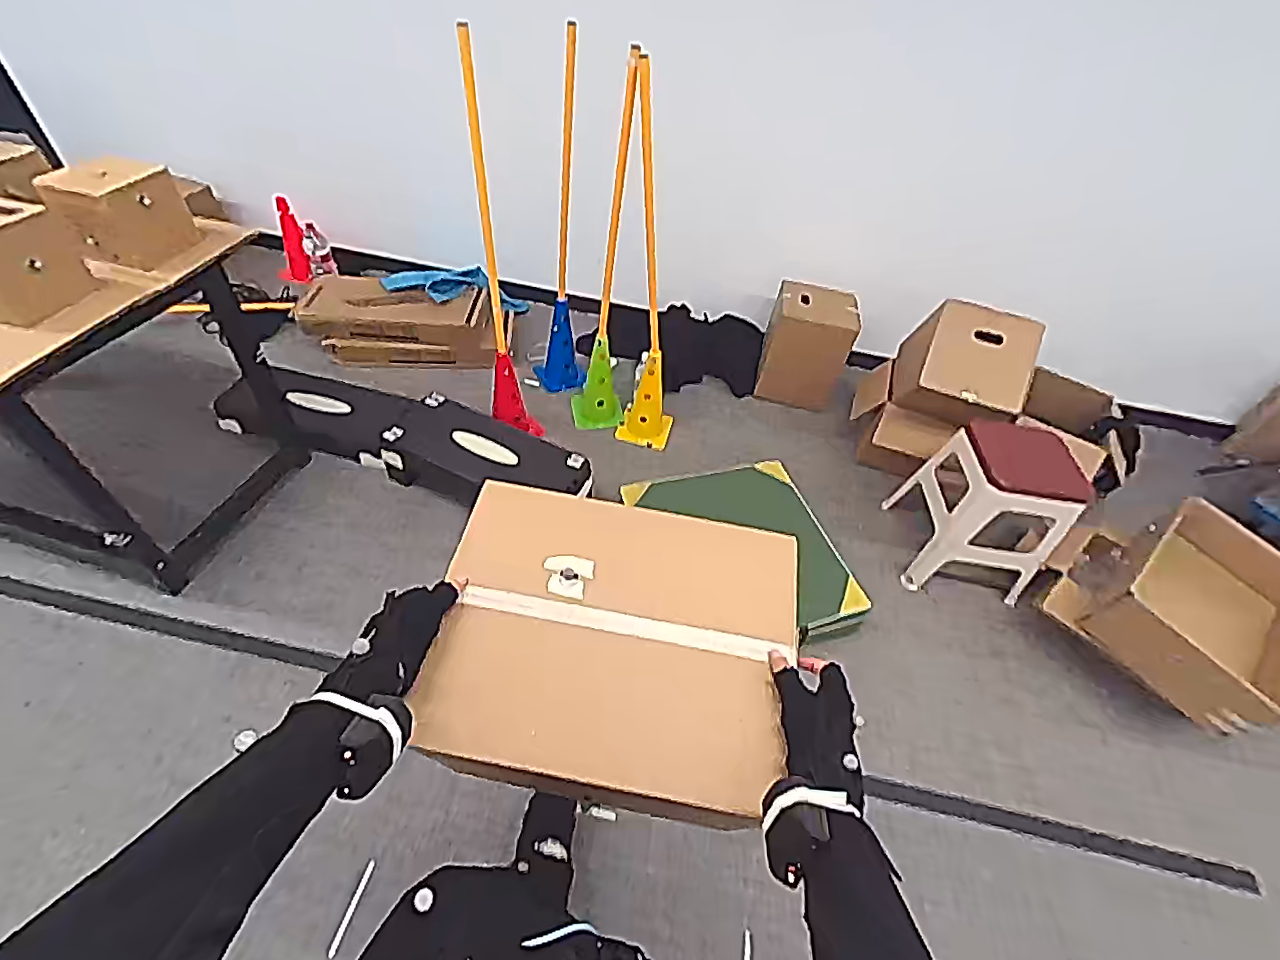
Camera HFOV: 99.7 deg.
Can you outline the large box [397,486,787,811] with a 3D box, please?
[{"bbox_3d":[-0.036,0.245,0.745,0.408,0.320,0.320,10,55,3],"label":"large box"}]
